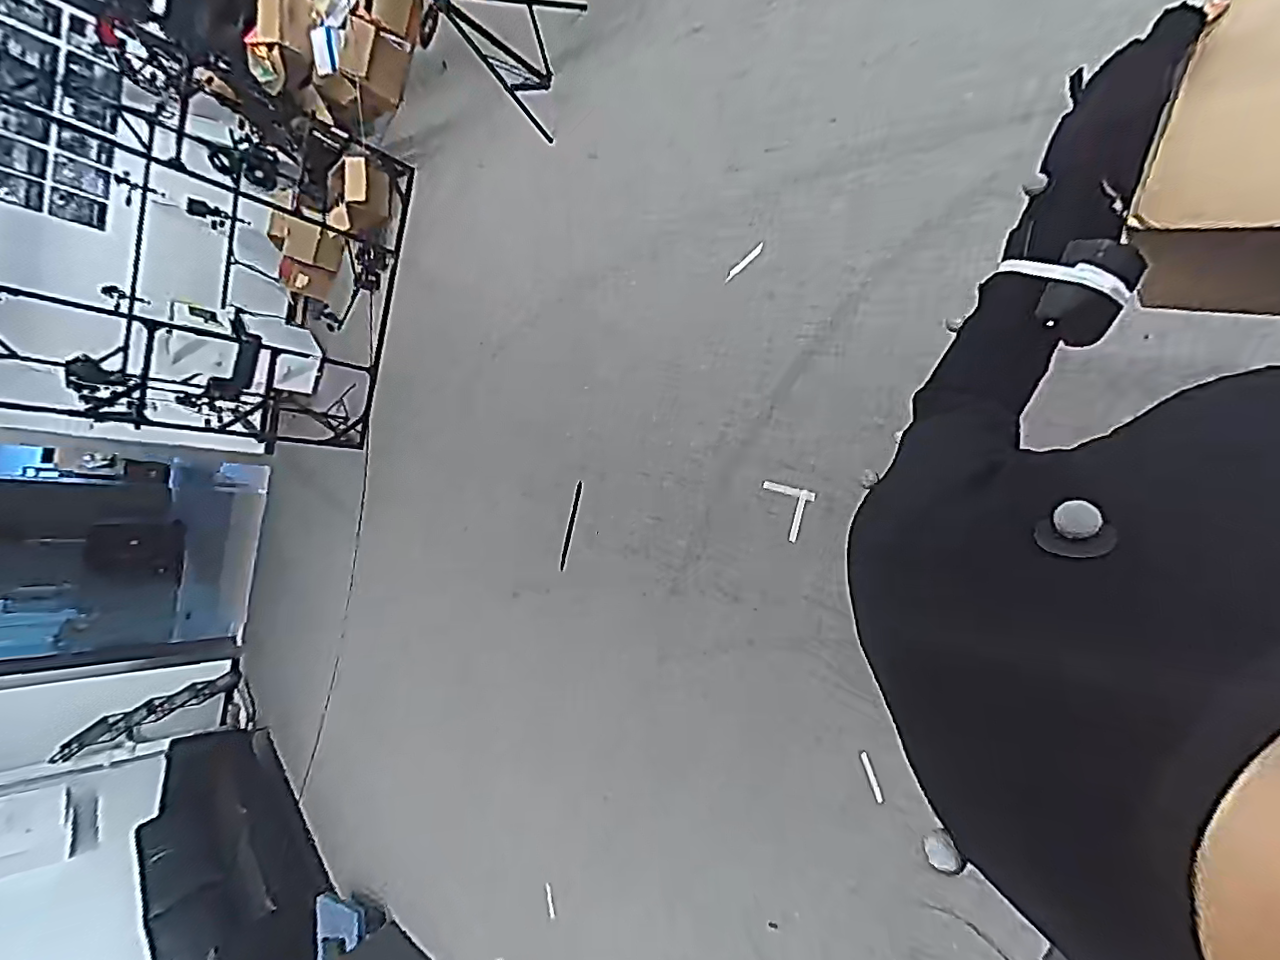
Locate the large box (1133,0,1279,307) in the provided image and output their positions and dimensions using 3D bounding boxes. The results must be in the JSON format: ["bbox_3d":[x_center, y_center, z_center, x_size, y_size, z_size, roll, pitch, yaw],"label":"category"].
[{"bbox_3d":[0.637,-0.295,0.357,0.408,0.320,0.320,22,108,41],"label":"large box"}]
